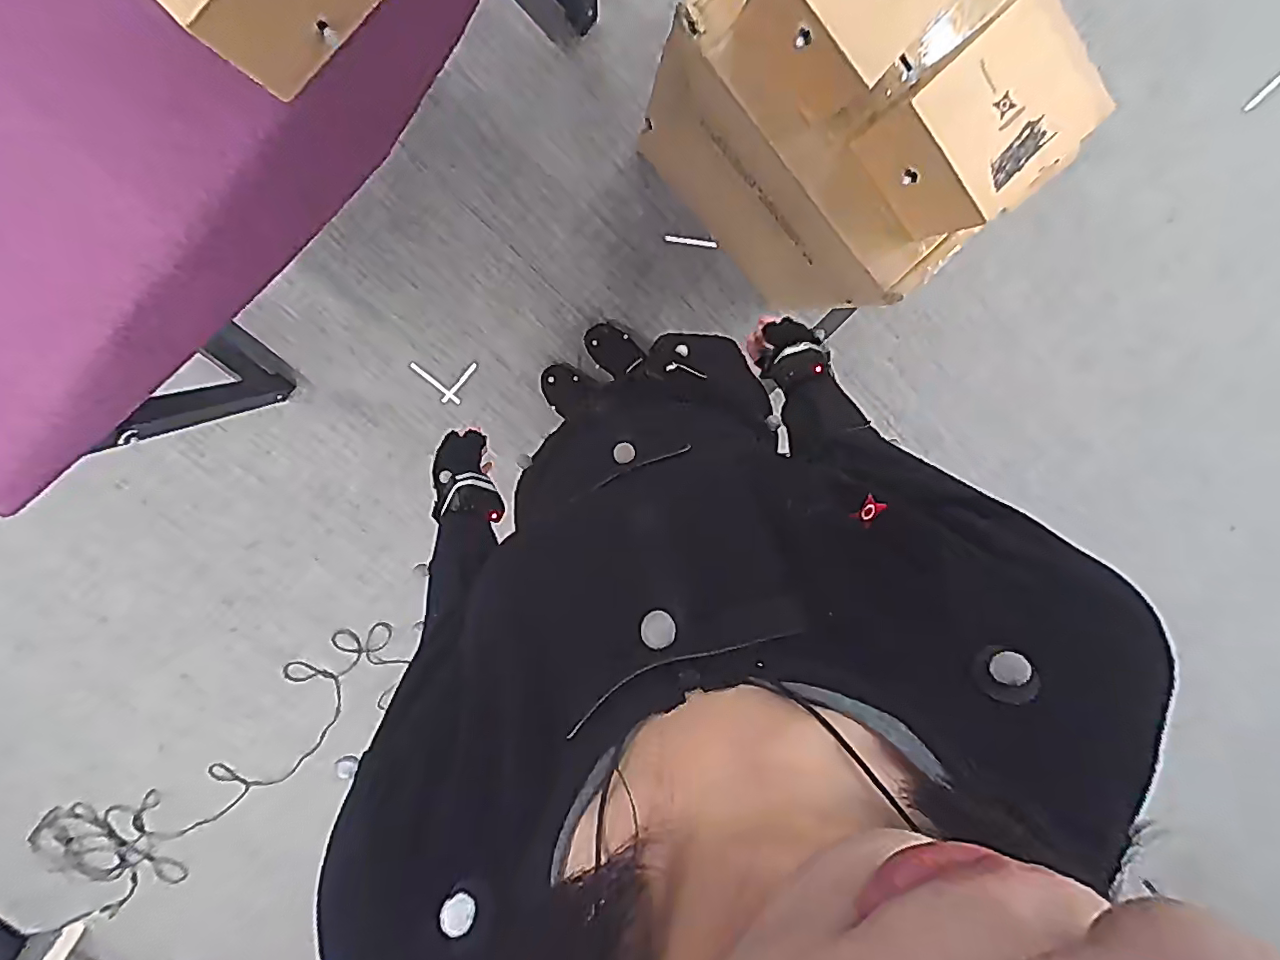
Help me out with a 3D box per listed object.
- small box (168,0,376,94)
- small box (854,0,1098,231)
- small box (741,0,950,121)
[{"bbox_3d":[-0.377,-0.520,0.503,0.179,0.176,0.168,-42,105,6],"label":"small box"},{"bbox_3d":[0.420,-0.451,0.704,0.168,0.176,0.179,-42,104,8],"label":"small box"},{"bbox_3d":[0.248,-0.583,0.651,0.179,0.176,0.168,42,100,-16],"label":"small box"}]
